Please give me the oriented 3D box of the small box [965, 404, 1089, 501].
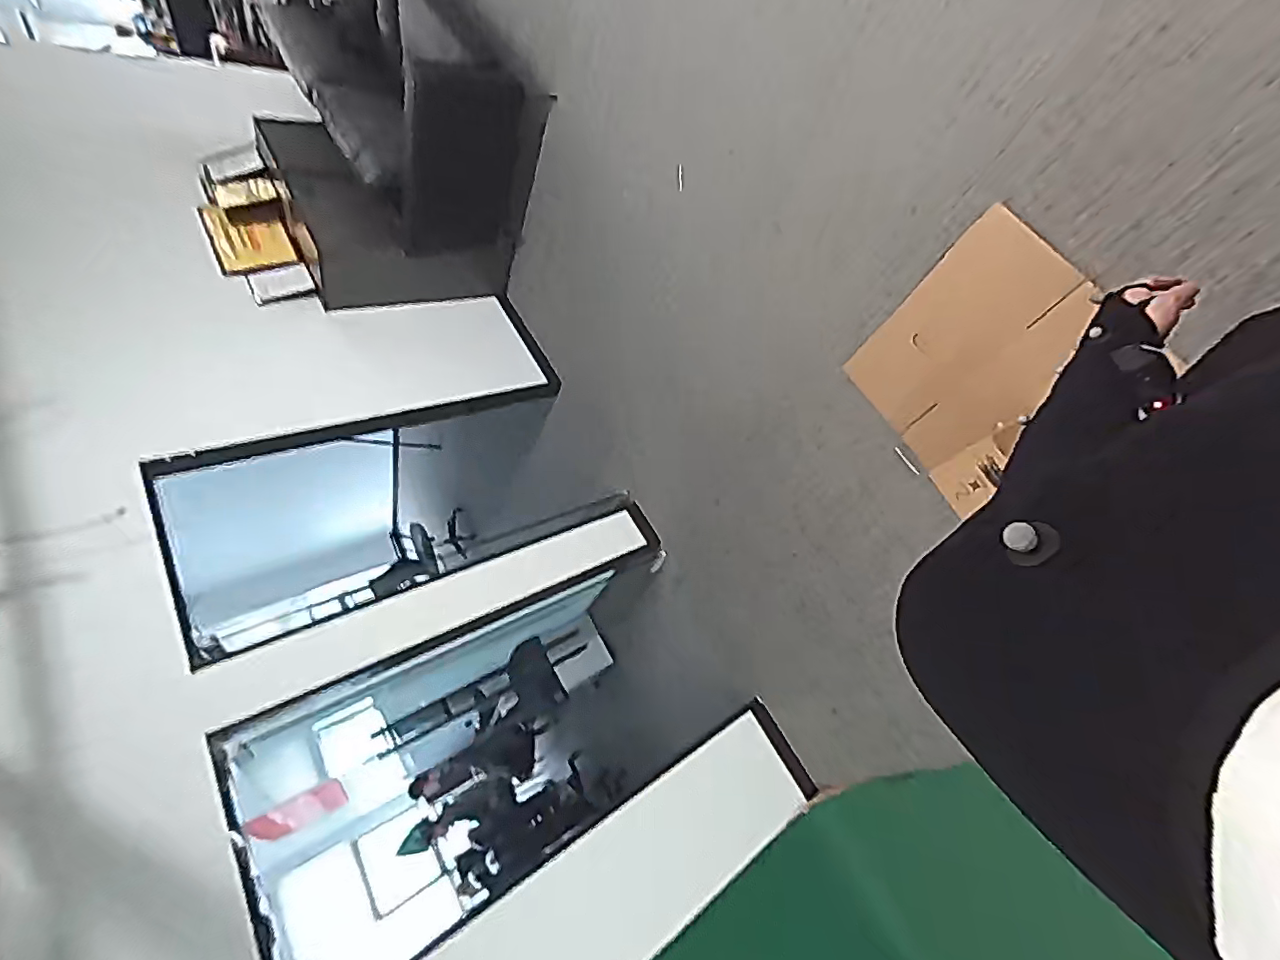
[{"bbox_3d":[1.000,-0.075,1.396,0.179,0.176,0.168,61,146,16],"label":"small box"}]
